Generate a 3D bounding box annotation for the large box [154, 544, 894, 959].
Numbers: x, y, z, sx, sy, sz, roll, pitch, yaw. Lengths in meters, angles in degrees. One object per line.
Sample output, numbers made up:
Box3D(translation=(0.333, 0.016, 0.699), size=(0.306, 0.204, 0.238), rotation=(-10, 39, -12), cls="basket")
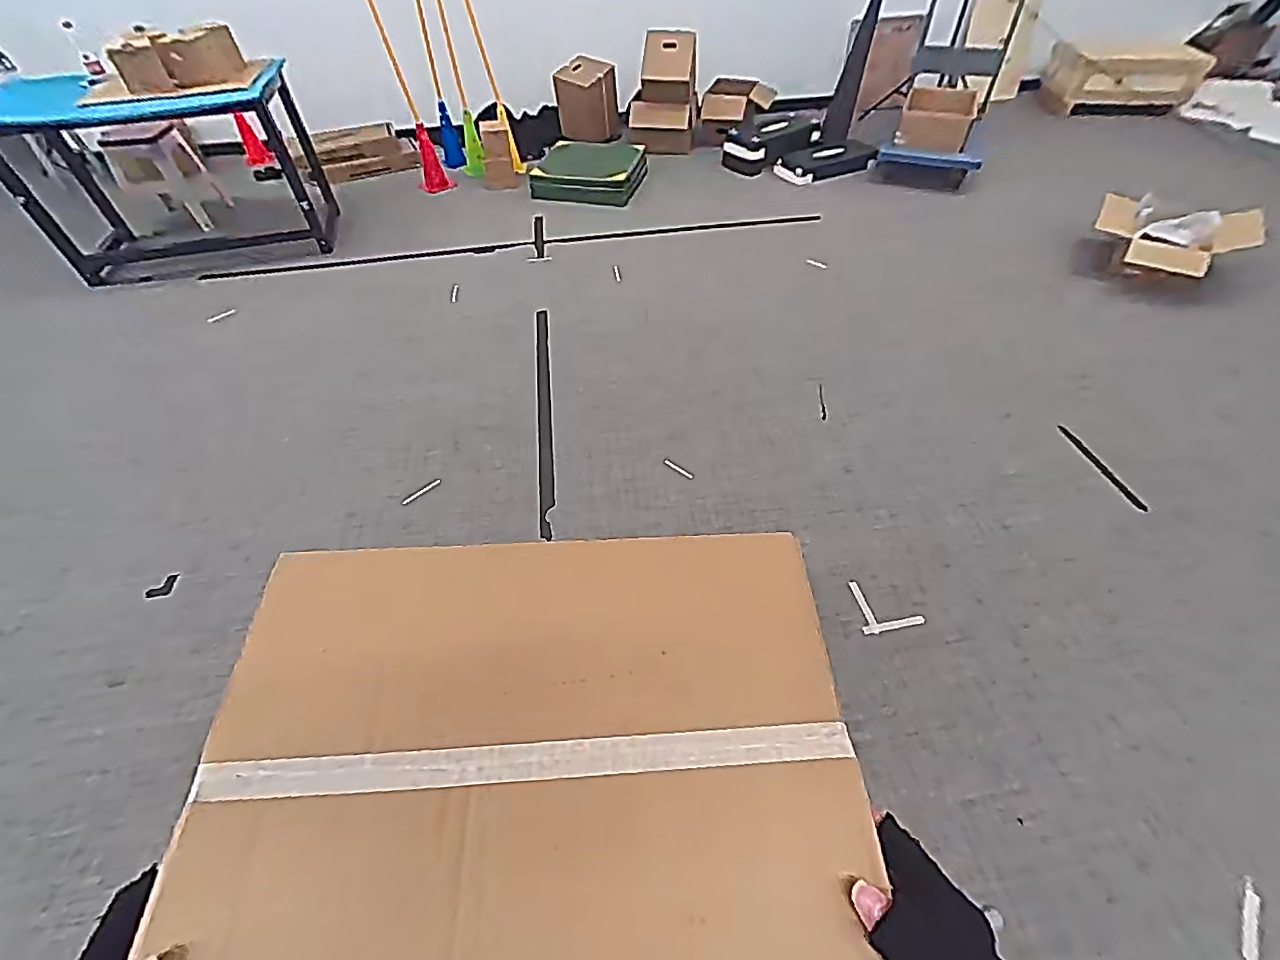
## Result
Box3D(translation=(-0.067, 0.272, 0.465), size=(0.408, 0.320, 0.320), rotation=(-2, 54, -3), cls="large box")
